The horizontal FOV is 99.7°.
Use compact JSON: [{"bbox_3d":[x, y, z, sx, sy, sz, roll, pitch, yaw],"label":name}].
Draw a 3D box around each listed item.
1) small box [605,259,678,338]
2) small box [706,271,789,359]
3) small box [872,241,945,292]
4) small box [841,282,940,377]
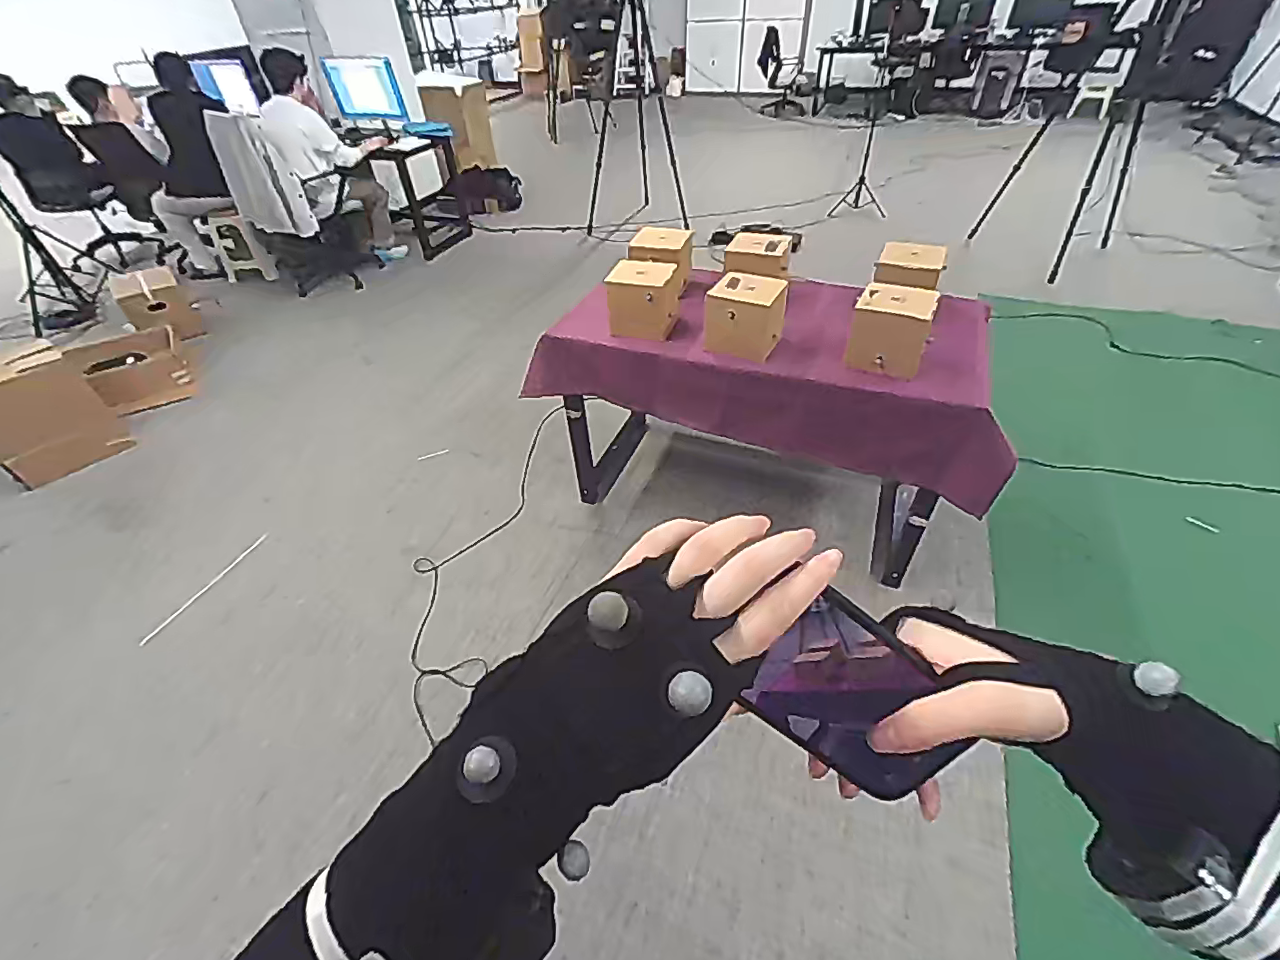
[{"bbox_3d":[0.008,-0.535,1.599,0.179,0.176,0.168,11,44,13],"label":"small box"},{"bbox_3d":[0.291,-0.453,1.491,0.179,0.176,0.168,20,48,22],"label":"small box"},{"bbox_3d":[0.781,-0.585,1.600,0.168,0.176,0.179,17,47,21],"label":"small box"},{"bbox_3d":[0.644,-0.387,1.398,0.179,0.176,0.168,20,47,23],"label":"small box"}]
